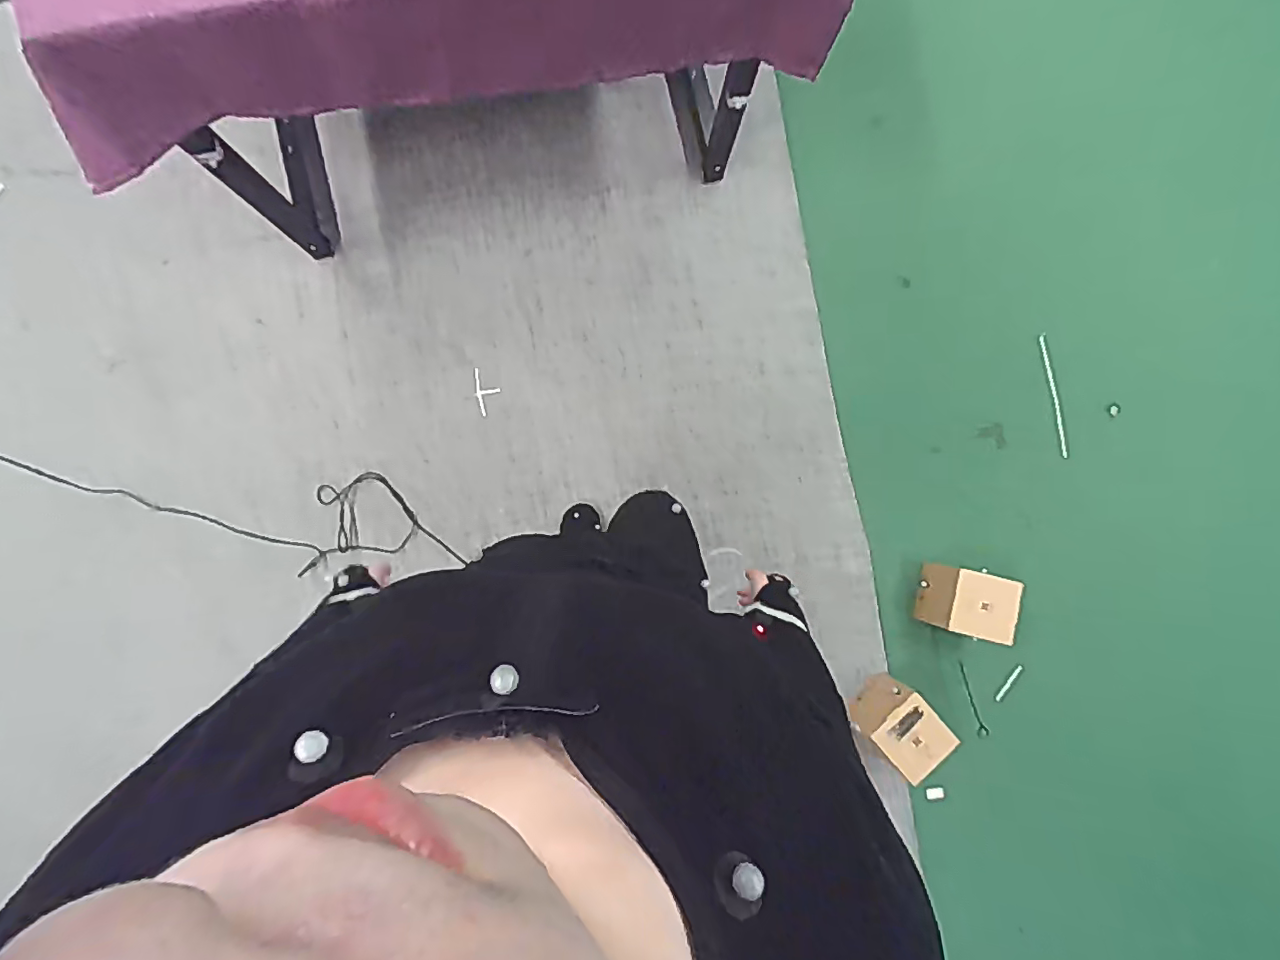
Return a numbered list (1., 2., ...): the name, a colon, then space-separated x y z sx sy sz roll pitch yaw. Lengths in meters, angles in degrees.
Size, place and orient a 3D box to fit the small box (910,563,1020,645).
1. small box: 0.875 0.328 1.468 0.179 0.176 0.168 15 86 -3
